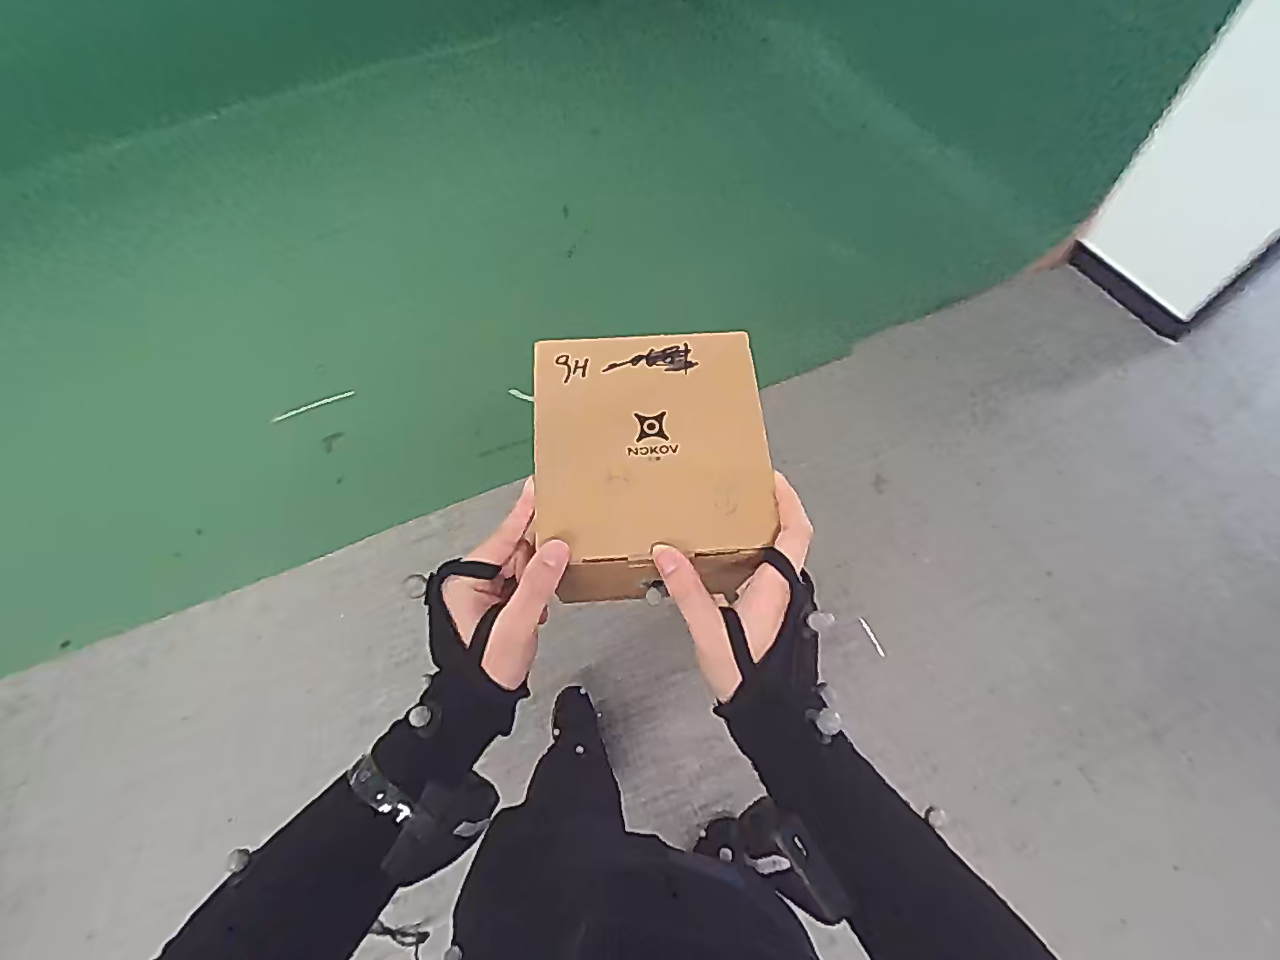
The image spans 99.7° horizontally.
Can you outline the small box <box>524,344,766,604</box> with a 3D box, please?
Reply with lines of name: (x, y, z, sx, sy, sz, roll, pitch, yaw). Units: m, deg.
small box: (-0.002, 0.008, 0.463, 0.168, 0.176, 0.179, -4, 70, -3)
